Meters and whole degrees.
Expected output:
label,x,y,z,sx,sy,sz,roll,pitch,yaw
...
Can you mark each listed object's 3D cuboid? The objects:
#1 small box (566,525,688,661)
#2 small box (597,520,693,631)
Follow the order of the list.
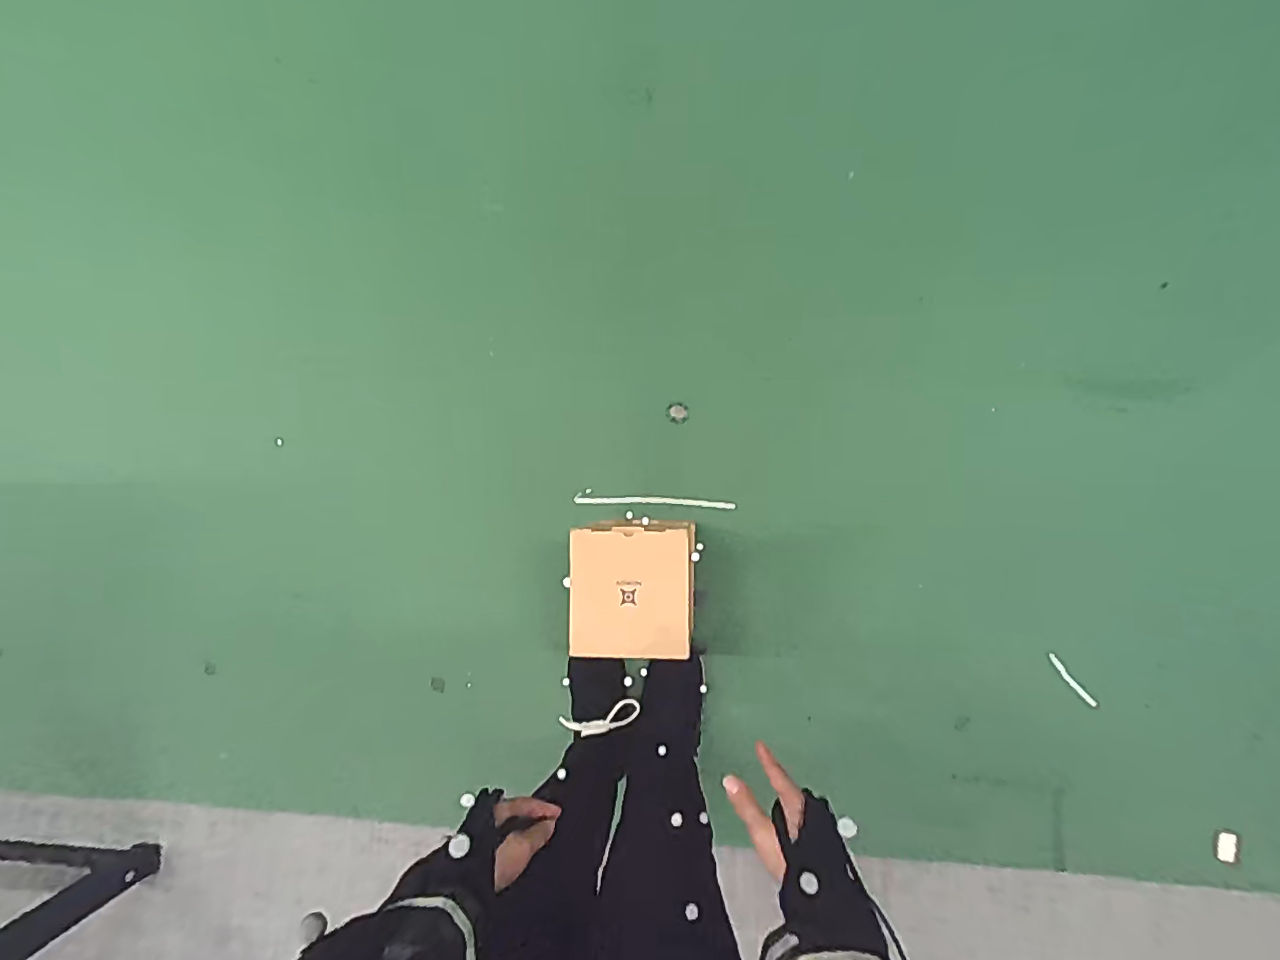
label,x,y,z,sx,sy,sz,roll,pitch,yaw
small box,-0.011,0.160,0.816,0.168,0.176,0.179,0,87,6
small box,0.012,0.163,0.977,0.168,0.176,0.179,1,88,6
